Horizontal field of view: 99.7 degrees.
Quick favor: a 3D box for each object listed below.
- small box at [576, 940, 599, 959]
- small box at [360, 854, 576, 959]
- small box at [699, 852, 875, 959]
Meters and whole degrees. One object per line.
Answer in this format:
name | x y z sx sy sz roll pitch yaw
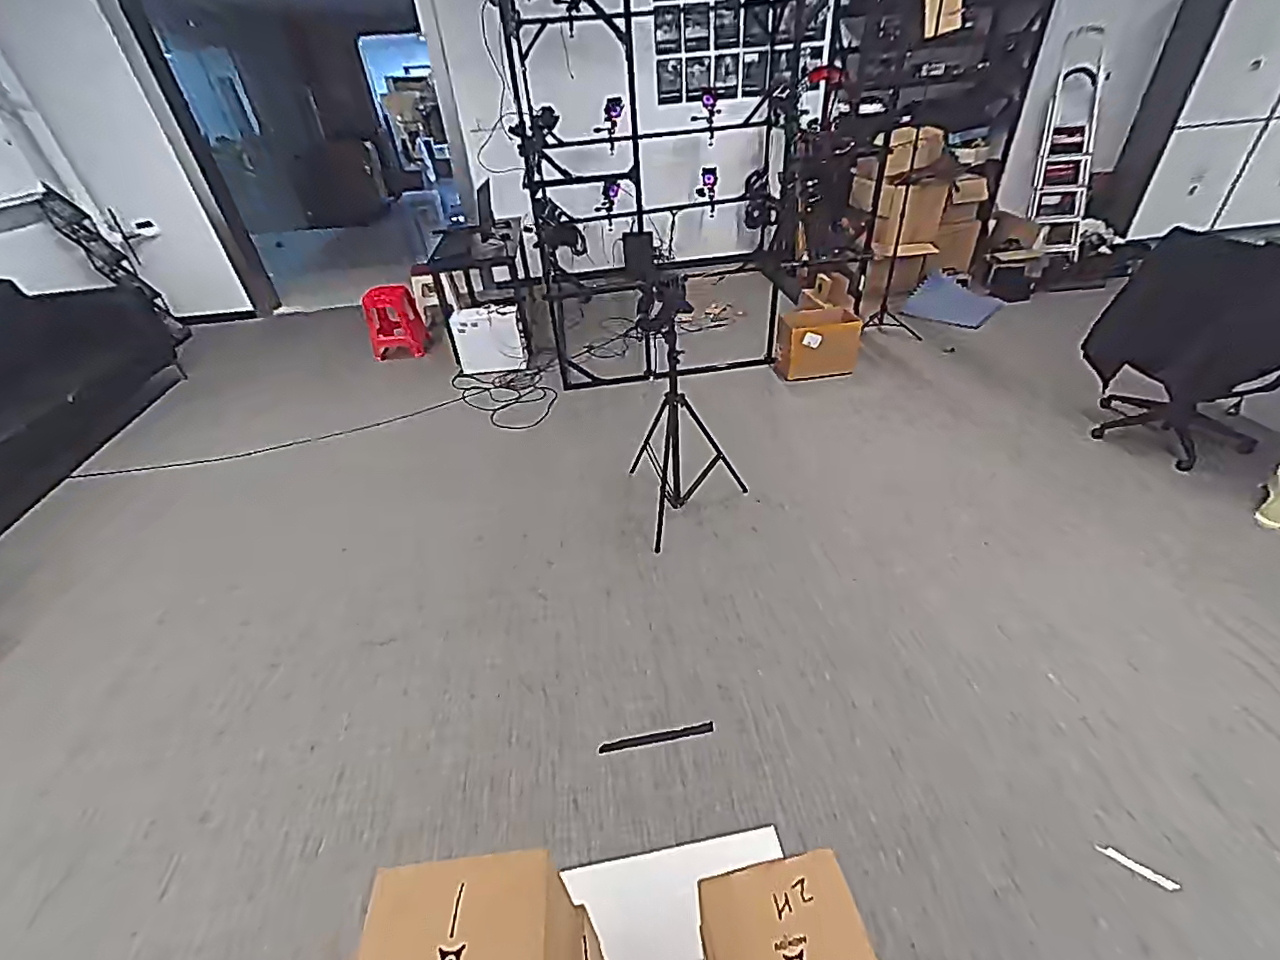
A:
small box | -0.121 0.740 0.698 0.168 0.176 0.179 -8 37 -5
small box | -0.152 0.482 0.496 0.168 0.176 0.179 -7 36 -2
small box | 0.171 0.567 0.613 0.168 0.176 0.179 -10 37 -5
